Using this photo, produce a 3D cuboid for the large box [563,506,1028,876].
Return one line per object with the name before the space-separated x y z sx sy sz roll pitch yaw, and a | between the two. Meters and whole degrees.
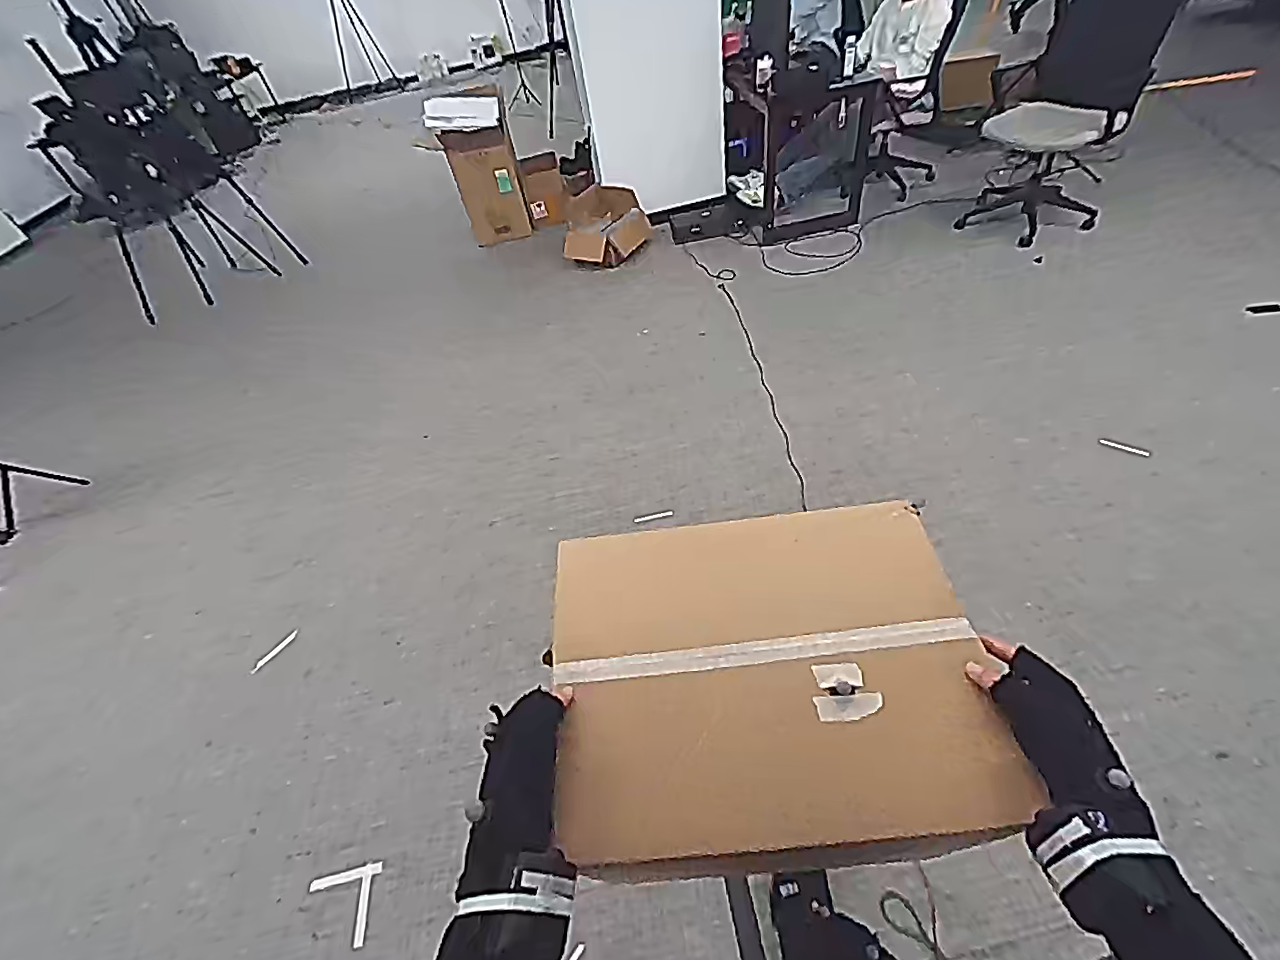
large box | 0.133 0.267 0.663 0.408 0.320 0.320 -7 51 2
